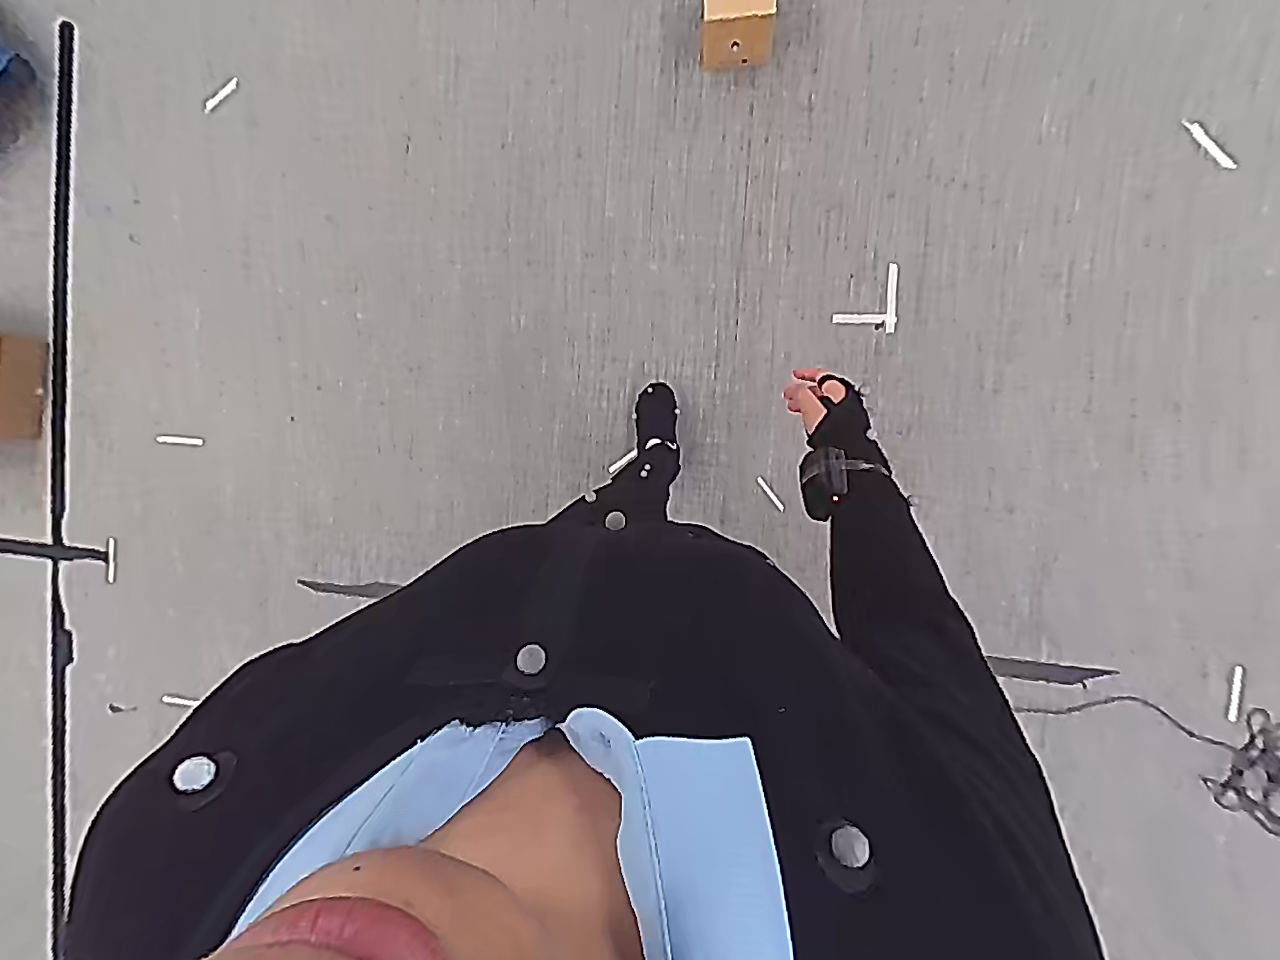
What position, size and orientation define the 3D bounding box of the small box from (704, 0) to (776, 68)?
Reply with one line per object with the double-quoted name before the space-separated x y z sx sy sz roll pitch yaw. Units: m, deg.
"small box" 0.241 -1.142 1.315 0.168 0.176 0.179 0 92 6
